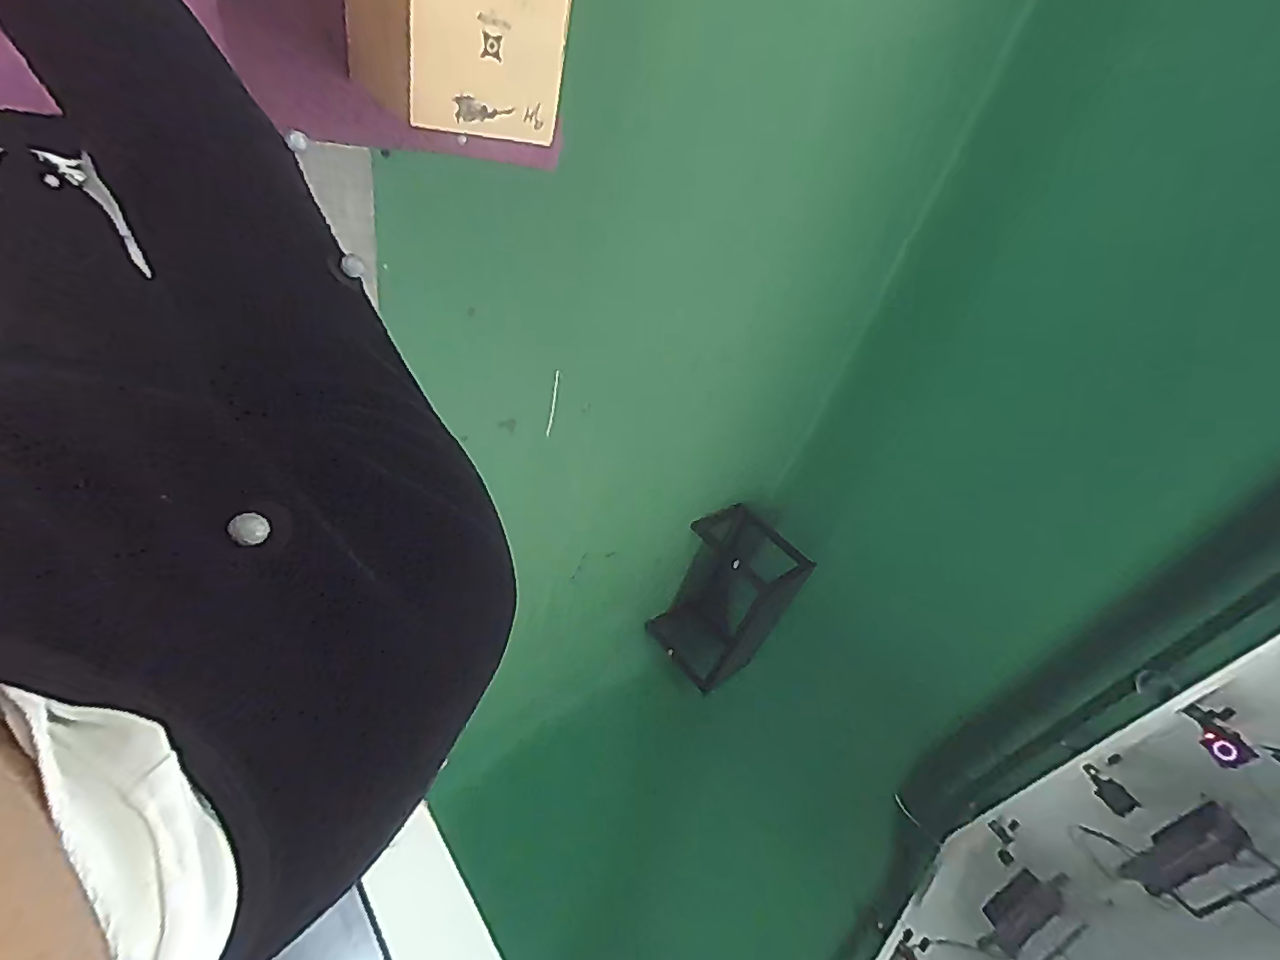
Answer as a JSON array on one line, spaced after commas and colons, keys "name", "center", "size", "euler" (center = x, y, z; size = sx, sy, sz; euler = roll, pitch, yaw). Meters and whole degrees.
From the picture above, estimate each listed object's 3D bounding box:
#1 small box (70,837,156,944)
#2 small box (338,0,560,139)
[{"name": "small box", "center": [-1.565, 1.208, 1.607], "size": [0.168, 0.176, 0.179], "euler": [-8, 133, -46]}, {"name": "small box", "center": [-0.200, -0.484, 0.555], "size": [0.168, 0.176, 0.179], "euler": [-17, 140, -37]}]
